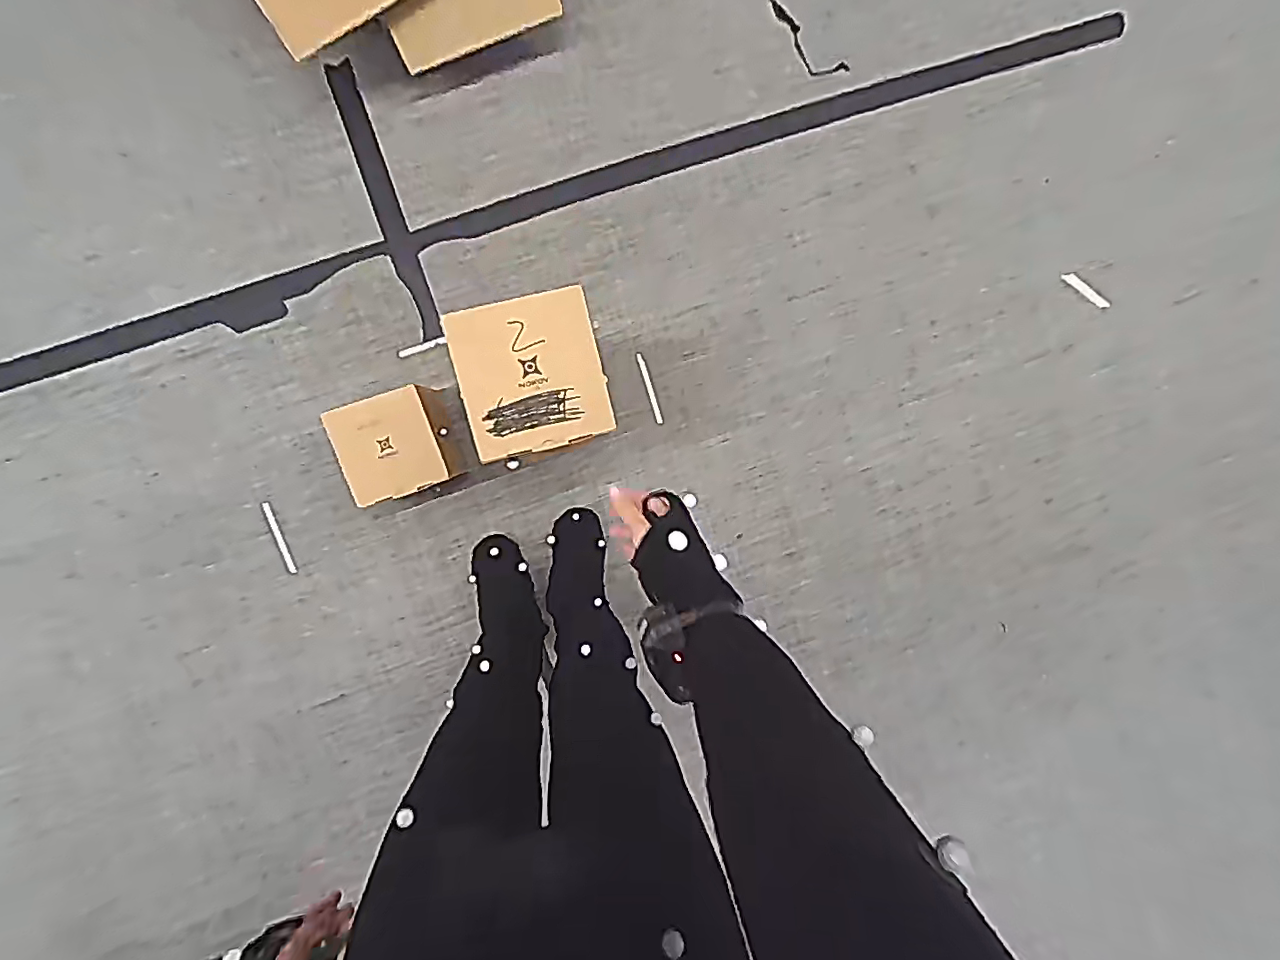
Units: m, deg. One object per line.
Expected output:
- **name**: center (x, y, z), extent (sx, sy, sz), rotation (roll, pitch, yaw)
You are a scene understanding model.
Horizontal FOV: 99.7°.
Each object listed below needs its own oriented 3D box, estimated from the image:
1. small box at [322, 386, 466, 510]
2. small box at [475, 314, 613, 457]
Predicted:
- **small box**: center (-0.440, -0.062, 0.999), extent (0.168, 0.176, 0.179), rotation (-20, 97, -6)
- **small box**: center (-0.144, -0.145, 0.858), extent (0.168, 0.176, 0.179), rotation (-15, 97, -5)
